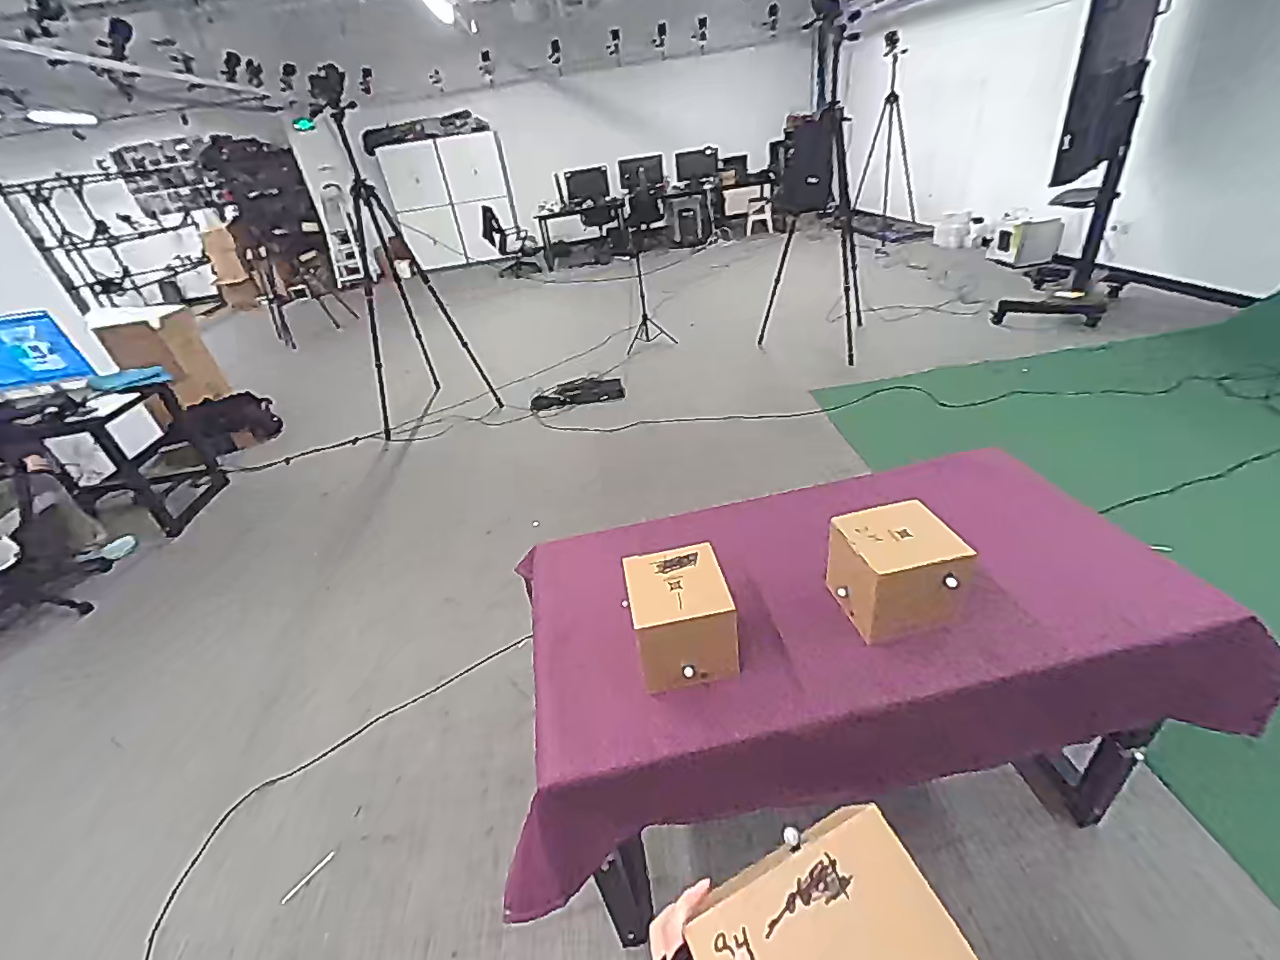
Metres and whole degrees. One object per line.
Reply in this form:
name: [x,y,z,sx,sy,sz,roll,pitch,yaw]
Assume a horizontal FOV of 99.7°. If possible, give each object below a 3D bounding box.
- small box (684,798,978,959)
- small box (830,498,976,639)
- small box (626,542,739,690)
small box: [0.155,0.372,0.416,0.168,0.176,0.179,-29,59,-5]
small box: [0.464,0.161,0.985,0.179,0.176,0.168,-12,32,-4]
small box: [0.073,0.240,0.965,0.168,0.176,0.179,-11,33,-2]
